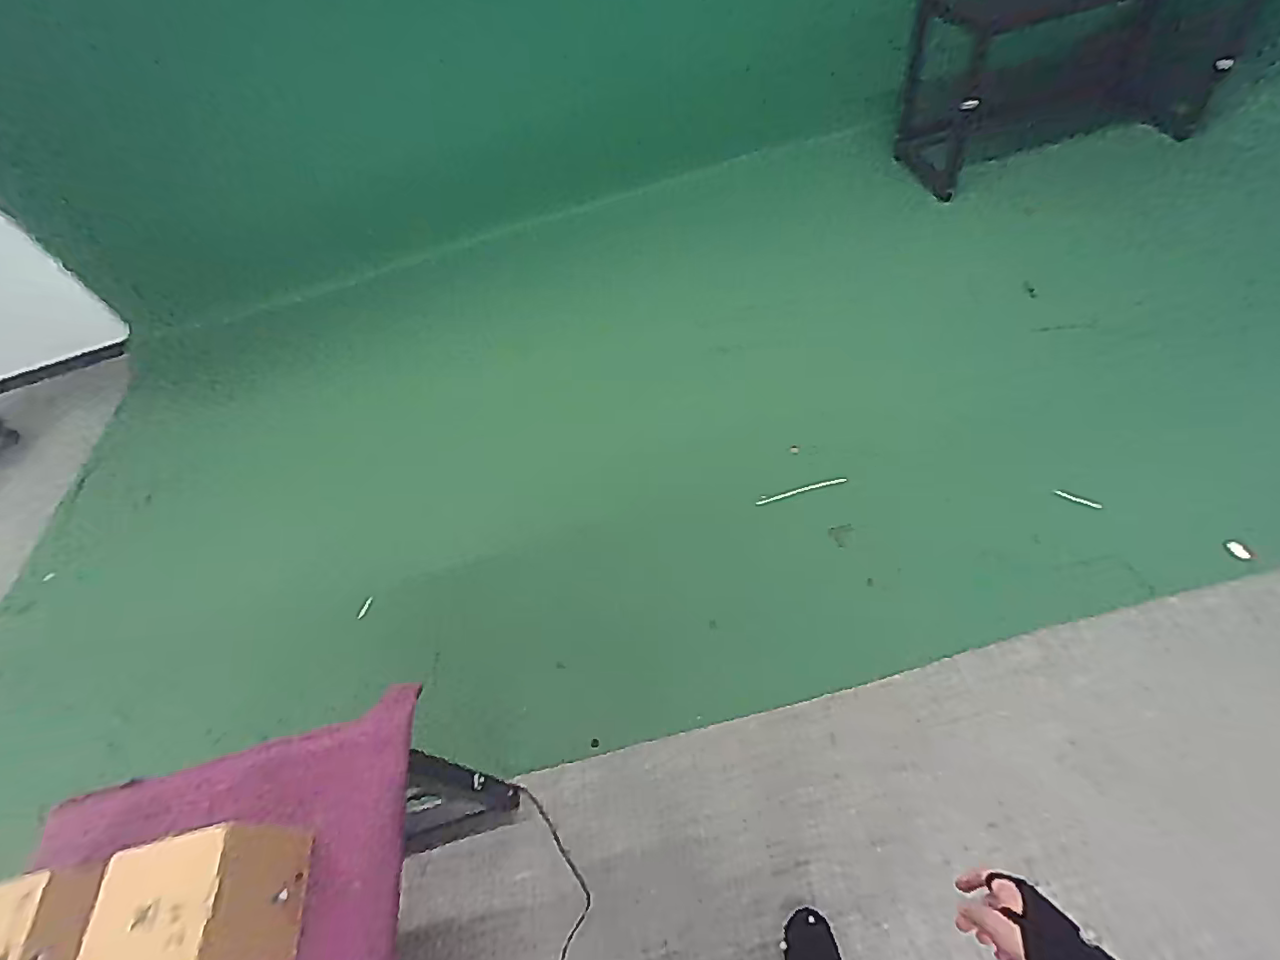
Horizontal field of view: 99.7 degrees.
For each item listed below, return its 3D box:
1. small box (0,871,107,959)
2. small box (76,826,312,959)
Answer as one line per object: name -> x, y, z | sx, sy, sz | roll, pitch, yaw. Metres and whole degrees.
small box -> -0.847, 0.662, 0.747 | 0.179, 0.176, 0.168 | -17, 52, 1
small box -> -0.595, 0.590, 0.735 | 0.179, 0.176, 0.168 | -16, 52, 4
